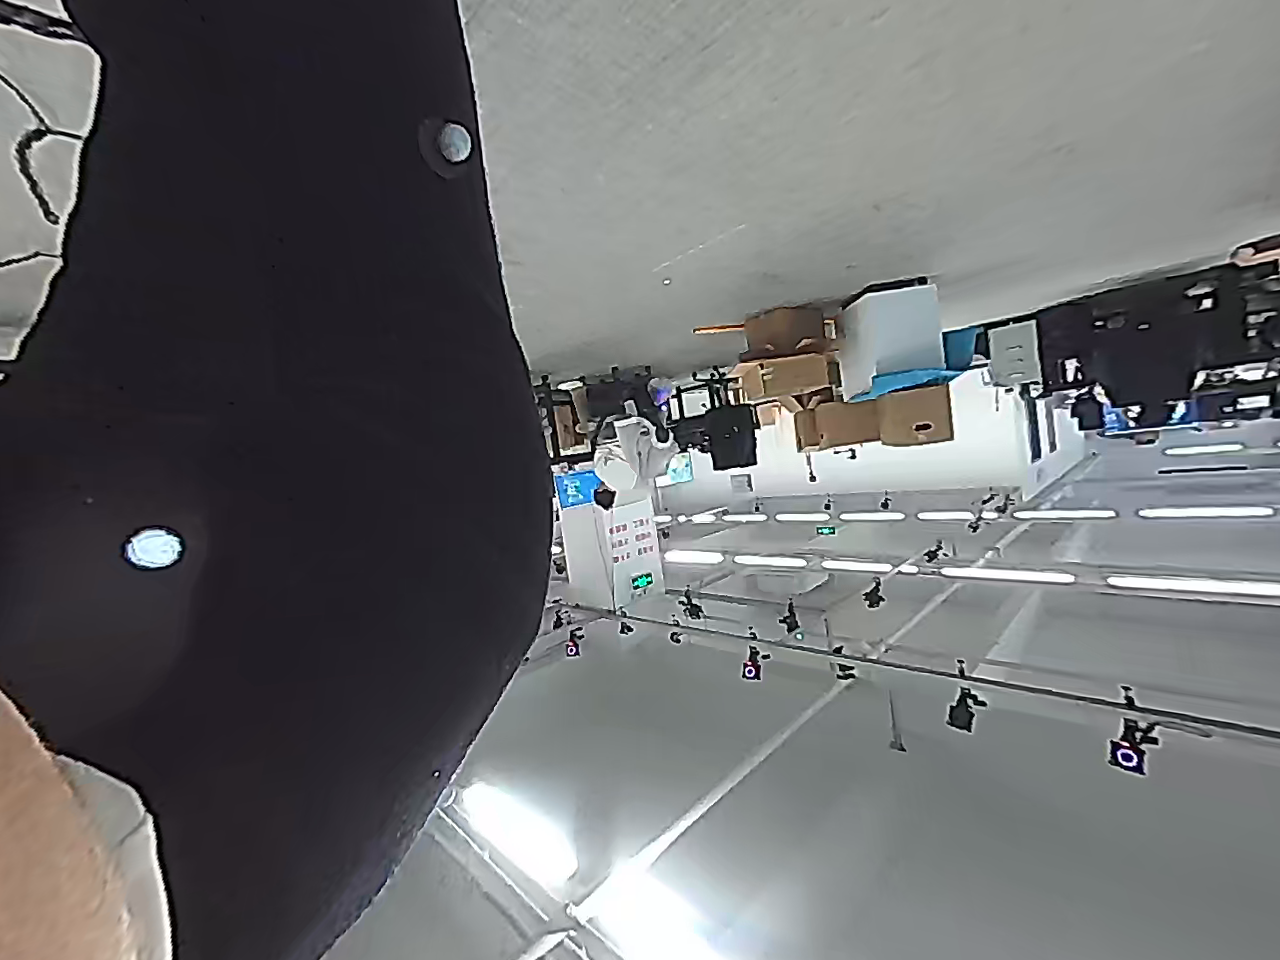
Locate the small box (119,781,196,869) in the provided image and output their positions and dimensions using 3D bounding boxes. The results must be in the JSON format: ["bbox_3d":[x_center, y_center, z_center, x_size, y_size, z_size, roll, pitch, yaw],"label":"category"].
[{"bbox_3d":[-1.607,1.127,1.798,0.168,0.176,0.179,-11,-175,-43],"label":"small box"}]

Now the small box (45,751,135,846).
[{"bbox_3d":[-1.716,0.983,1.689,0.179,0.176,0.168,-12,-175,-41],"label":"small box"}]
